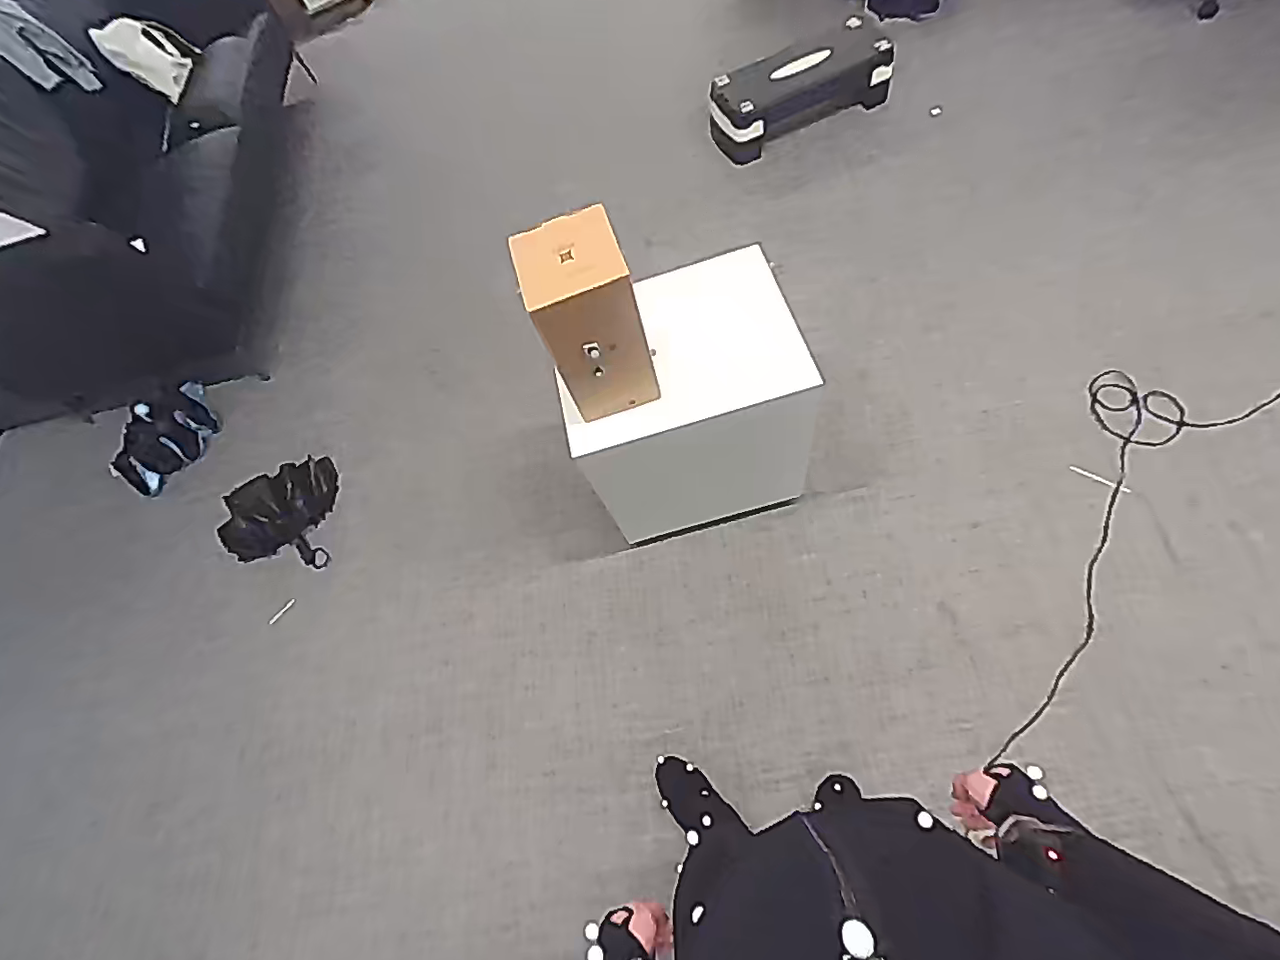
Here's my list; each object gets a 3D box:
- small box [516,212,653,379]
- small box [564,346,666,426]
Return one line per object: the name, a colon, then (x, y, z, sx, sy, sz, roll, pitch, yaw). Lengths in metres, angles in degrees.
small box: (-0.089, -0.304, 0.914, 0.168, 0.176, 0.179, -21, 63, 3)
small box: (-0.057, -0.237, 1.059, 0.168, 0.176, 0.179, -18, 62, 4)
